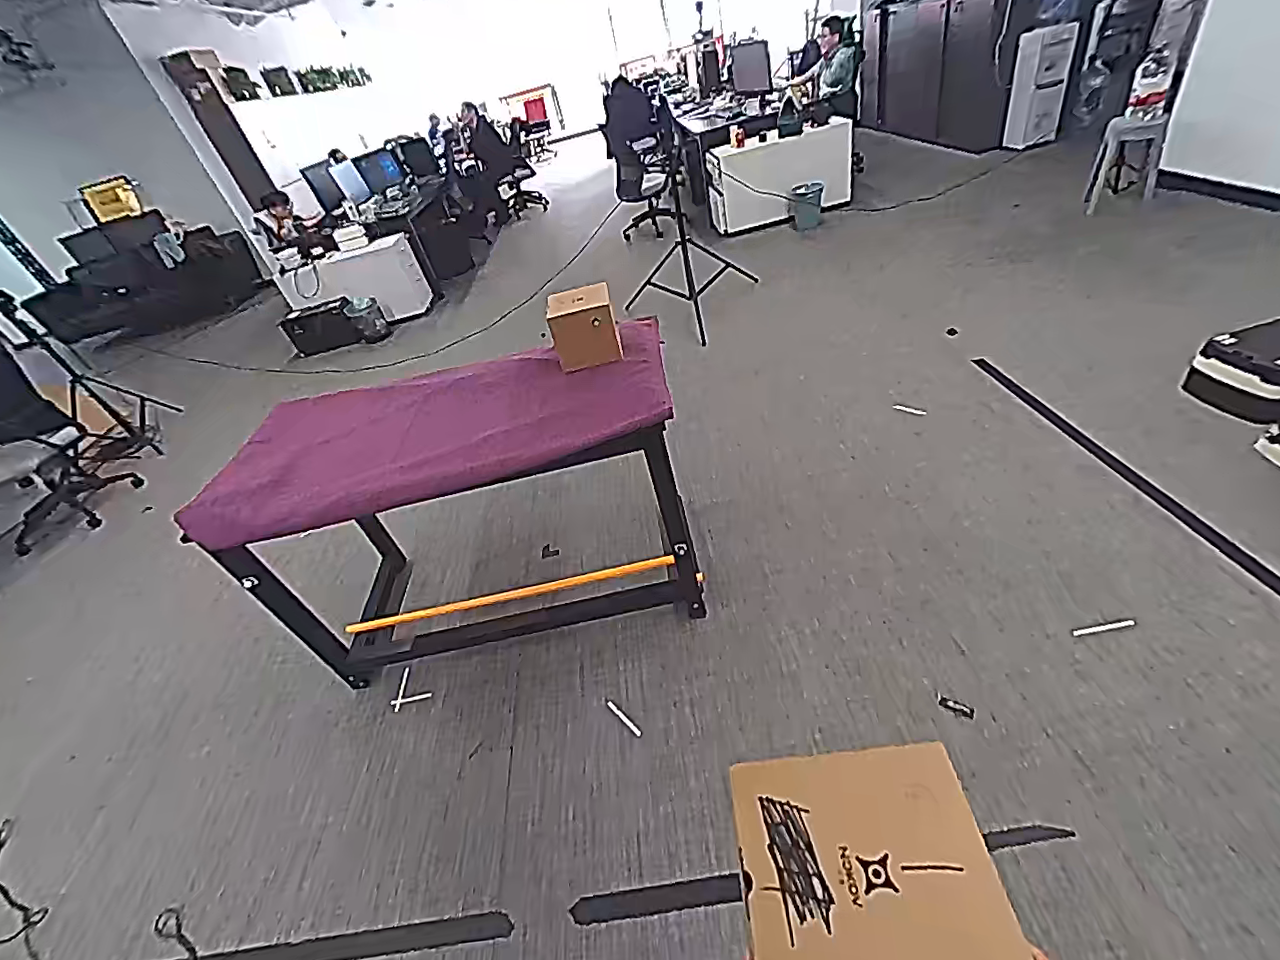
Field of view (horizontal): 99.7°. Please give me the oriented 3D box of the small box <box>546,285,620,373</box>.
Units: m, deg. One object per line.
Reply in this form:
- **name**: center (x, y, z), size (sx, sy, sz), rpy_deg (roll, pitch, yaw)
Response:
- **small box**: center (-0.157, -0.428, 1.541), size (0.179, 0.176, 0.168), rpy_deg (-13, 39, 4)

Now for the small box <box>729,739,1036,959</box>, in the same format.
- **small box**: center (0.179, 0.334, 0.436), size (0.179, 0.176, 0.168), rpy_deg (-11, 41, 9)
